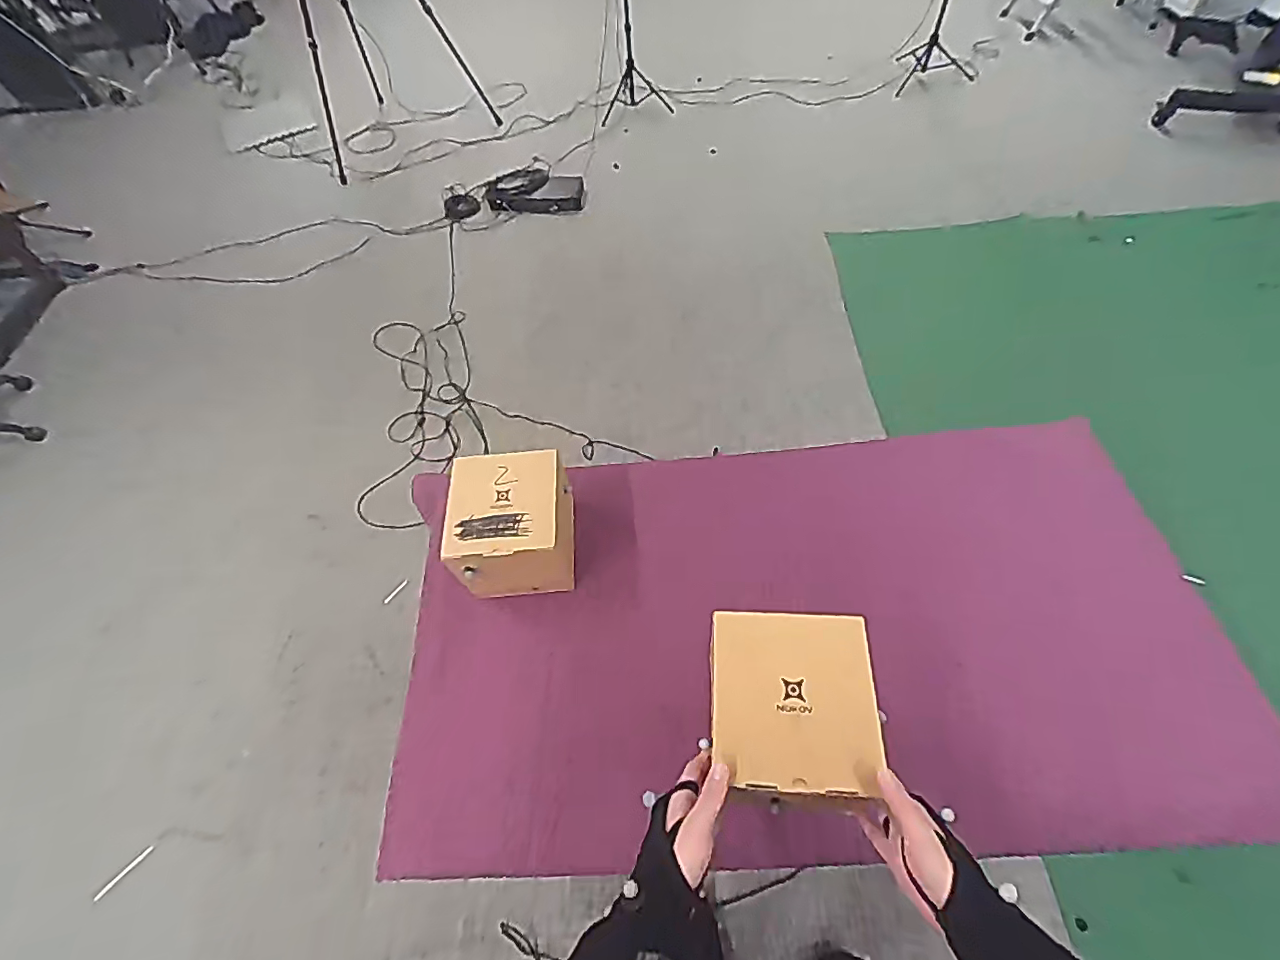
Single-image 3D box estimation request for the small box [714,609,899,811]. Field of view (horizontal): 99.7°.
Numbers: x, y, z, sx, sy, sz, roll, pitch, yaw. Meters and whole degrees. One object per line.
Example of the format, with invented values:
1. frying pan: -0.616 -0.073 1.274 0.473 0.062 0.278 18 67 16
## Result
1. small box: 0.169 0.263 0.615 0.168 0.176 0.179 1 56 7
